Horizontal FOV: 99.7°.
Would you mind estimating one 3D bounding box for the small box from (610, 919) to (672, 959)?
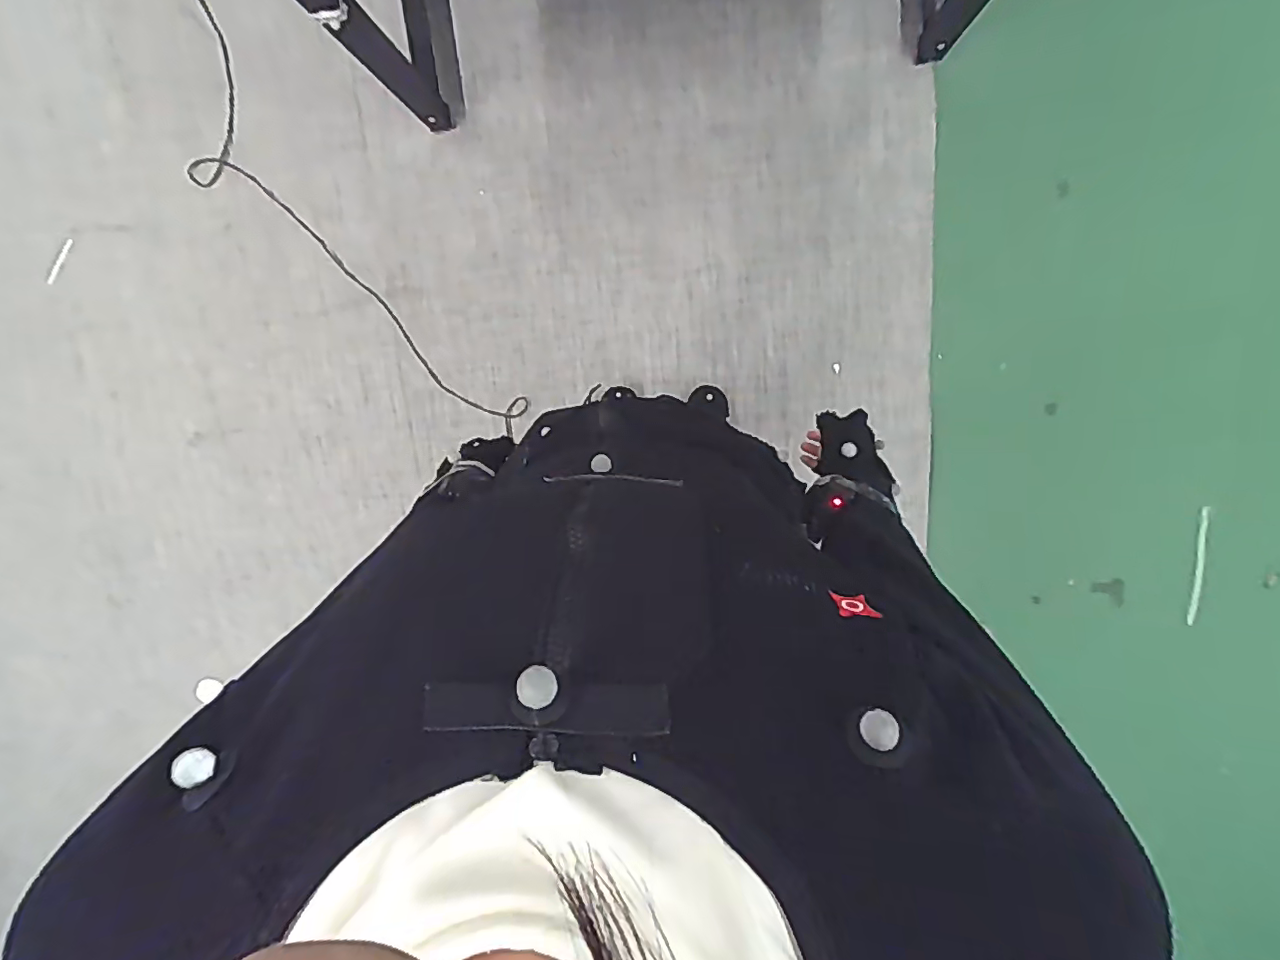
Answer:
[{"bbox_3d":[0.005,1.469,1.626,0.179,0.176,0.168,-6,103,3],"label":"small box"}]
